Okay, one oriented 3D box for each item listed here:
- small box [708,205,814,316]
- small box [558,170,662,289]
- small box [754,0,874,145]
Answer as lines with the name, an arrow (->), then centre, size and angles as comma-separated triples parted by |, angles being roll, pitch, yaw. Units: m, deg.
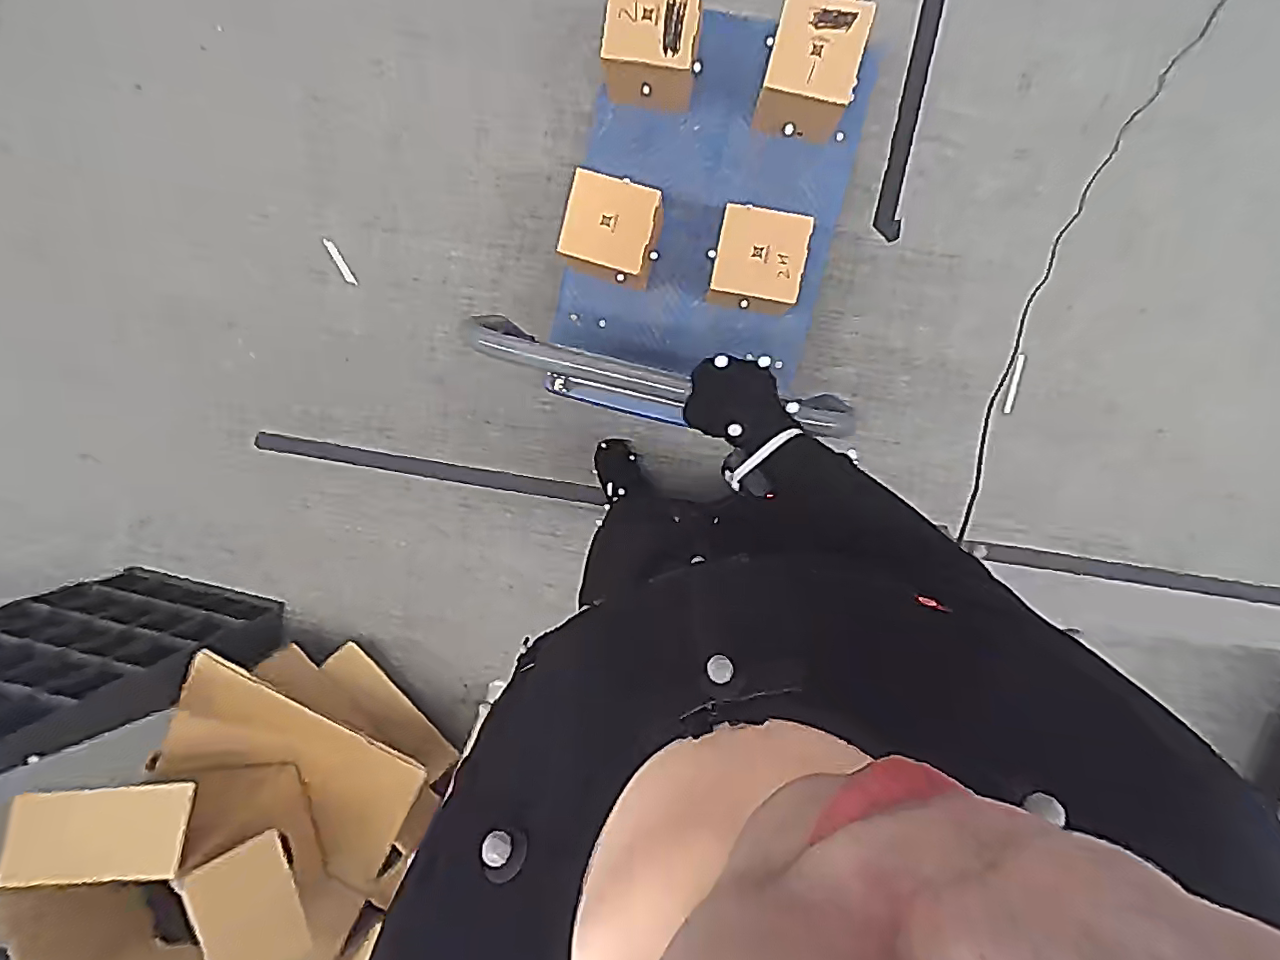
small box -> 0.244, -0.454, 1.142 | 0.179, 0.176, 0.168 | 11, 99, 2
small box -> -0.058, -0.522, 1.154 | 0.179, 0.176, 0.168 | 16, 98, 0
small box -> 0.336, -0.815, 1.083 | 0.168, 0.176, 0.179 | 14, 100, 2
